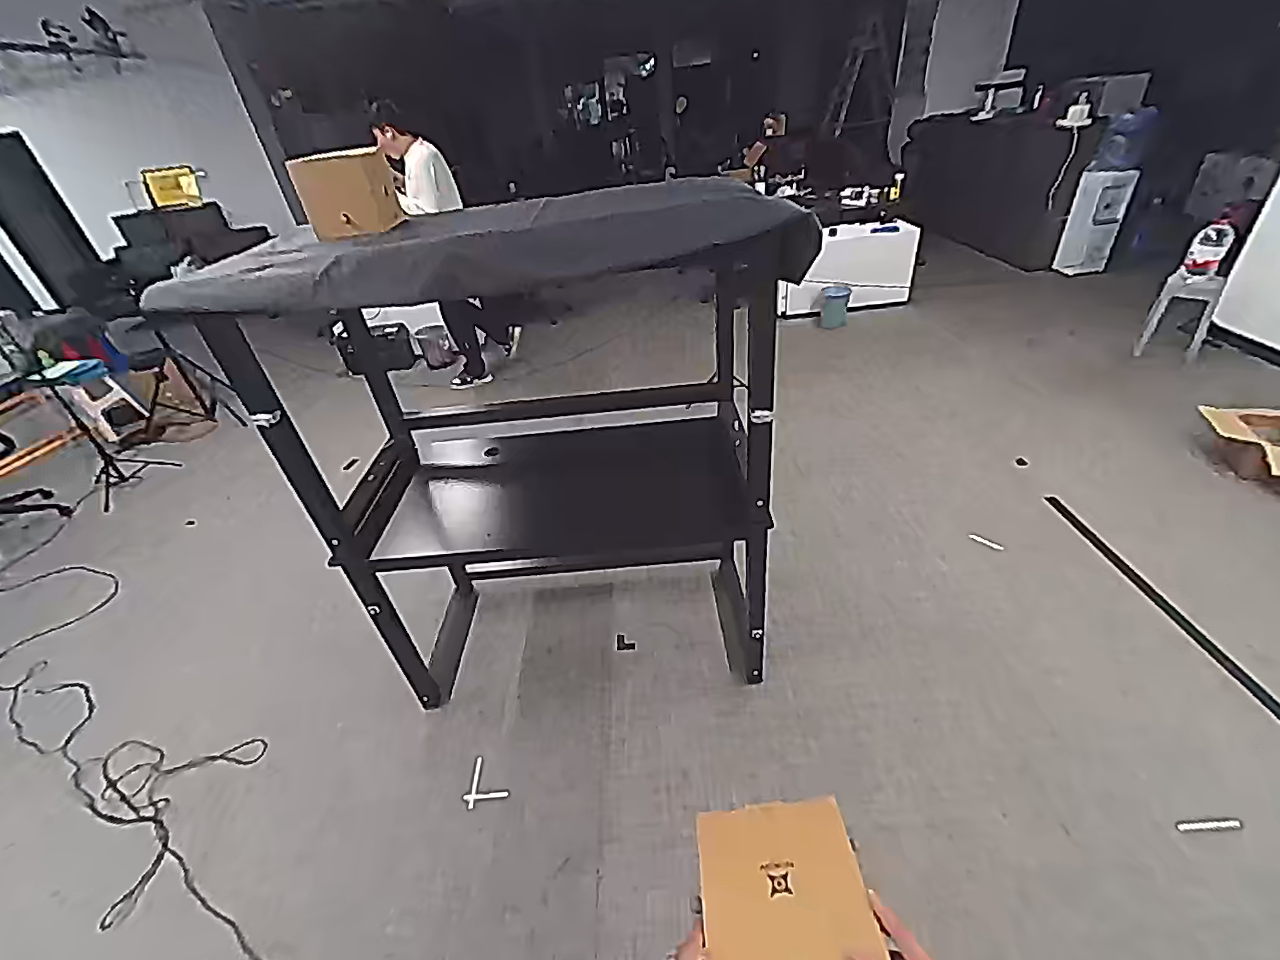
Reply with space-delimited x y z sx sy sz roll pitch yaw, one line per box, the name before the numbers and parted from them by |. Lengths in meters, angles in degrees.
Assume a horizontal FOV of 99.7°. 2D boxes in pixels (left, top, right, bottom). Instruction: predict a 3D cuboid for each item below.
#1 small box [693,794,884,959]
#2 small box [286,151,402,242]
small box | 0.157 0.483 0.579 0.168 0.176 0.179 -12 17 5
small box | -0.717 -0.700 1.335 0.179 0.176 0.168 -6 36 0
